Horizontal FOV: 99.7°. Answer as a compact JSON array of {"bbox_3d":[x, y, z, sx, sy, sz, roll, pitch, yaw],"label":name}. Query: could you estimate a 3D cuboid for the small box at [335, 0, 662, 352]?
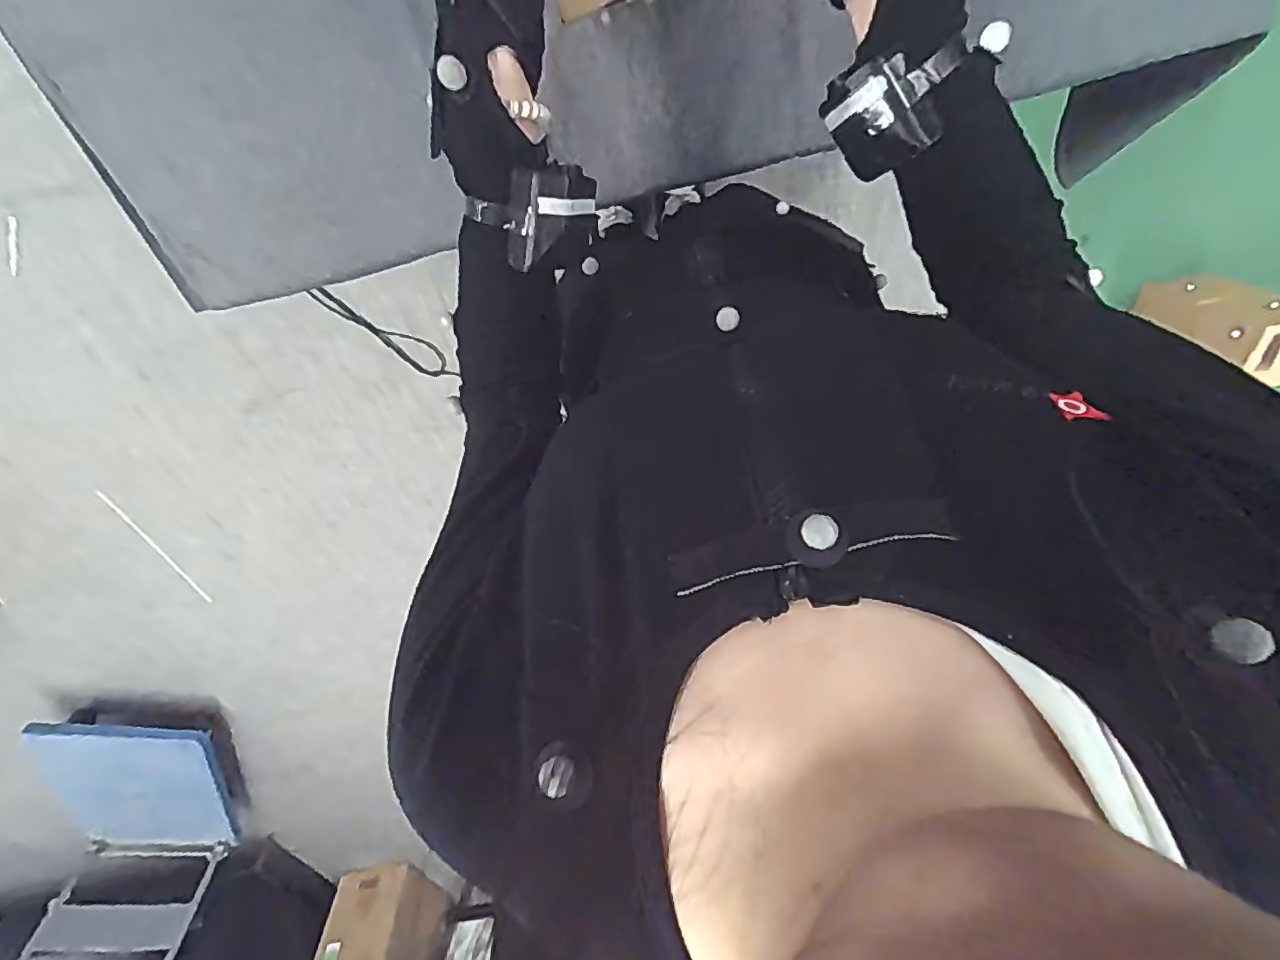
[{"bbox_3d":[-0.097,-0.208,0.398,0.176,0.168,0.179,0,86,31],"label":"small box"}]
